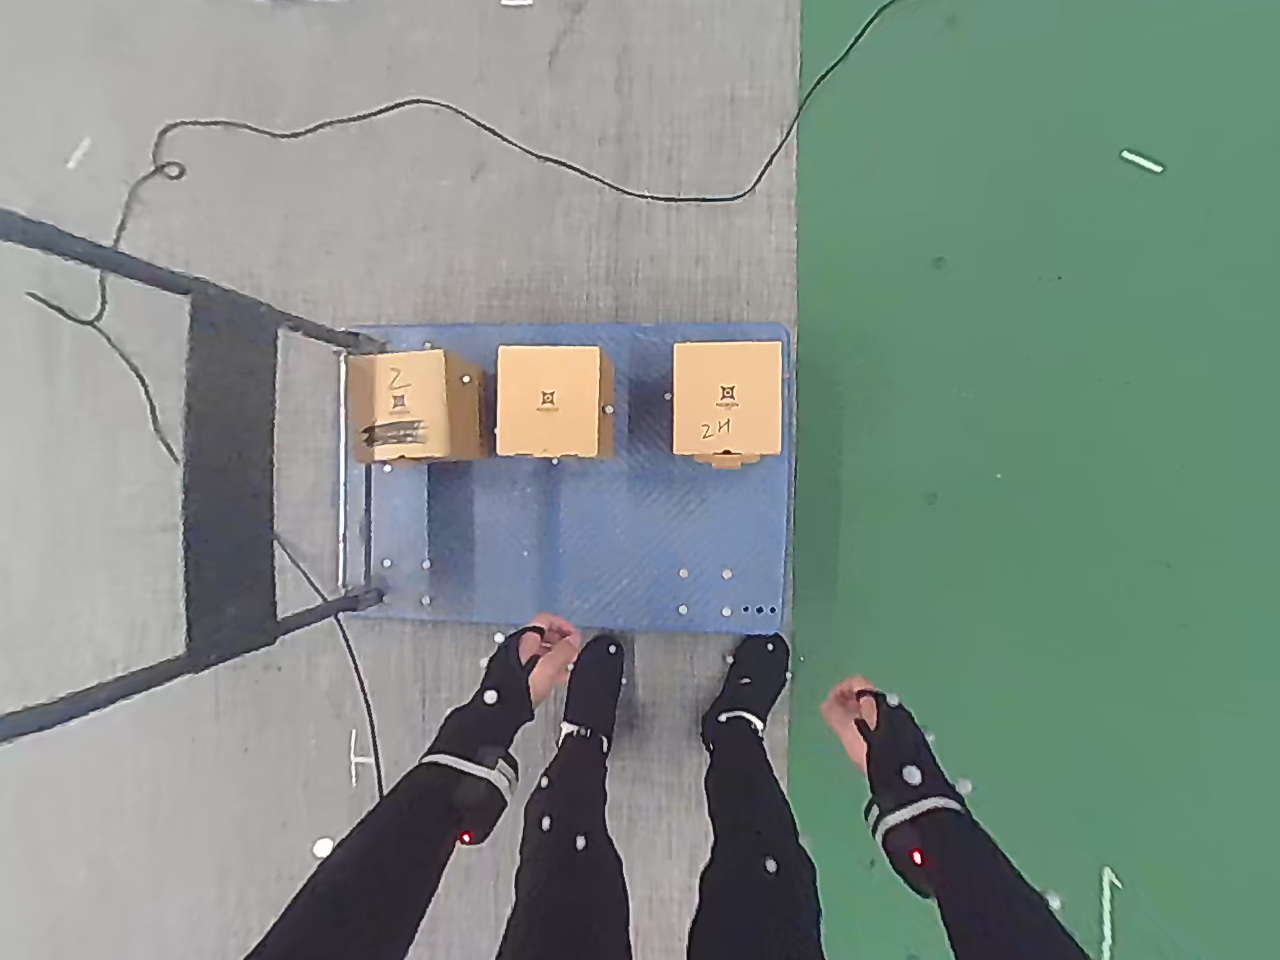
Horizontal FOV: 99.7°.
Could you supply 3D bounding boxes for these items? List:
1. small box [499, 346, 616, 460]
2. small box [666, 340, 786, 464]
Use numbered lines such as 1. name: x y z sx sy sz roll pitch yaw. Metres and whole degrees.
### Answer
1. small box: -0.135 -0.126 0.932 0.168 0.176 0.179 2 92 5
2. small box: 0.140 -0.122 0.903 0.168 0.176 0.179 7 93 8
